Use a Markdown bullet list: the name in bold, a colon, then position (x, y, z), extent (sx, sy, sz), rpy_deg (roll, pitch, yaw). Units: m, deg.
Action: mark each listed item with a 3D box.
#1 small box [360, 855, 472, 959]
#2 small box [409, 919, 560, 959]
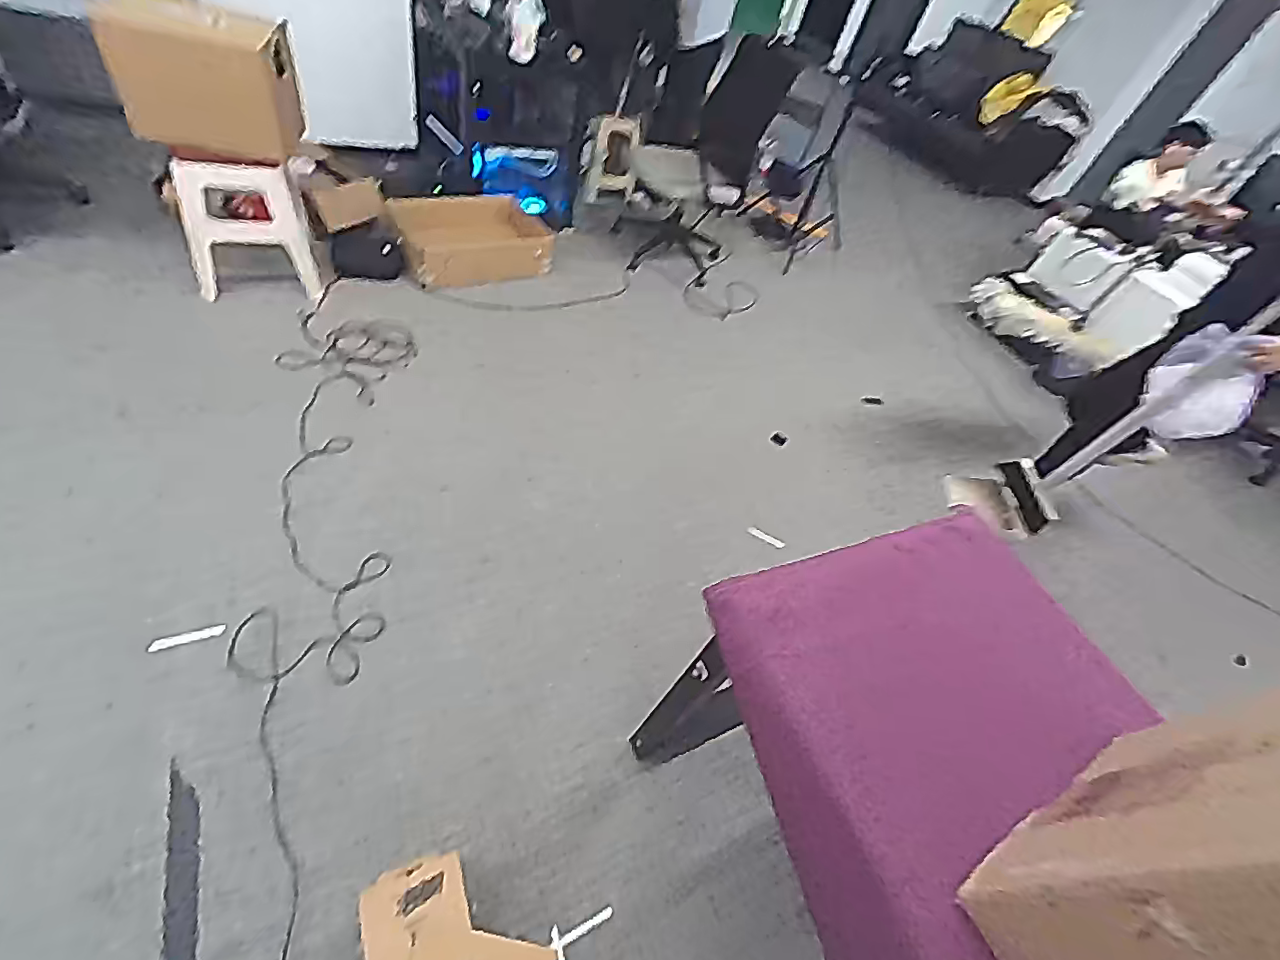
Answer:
- **small box**: position (-0.390, 0.806, 0.957), extent (0.168, 0.176, 0.179), rpy_deg (-10, 54, -25)
- **small box**: position (-0.194, 0.623, 0.564), extent (0.168, 0.176, 0.179), rpy_deg (17, 14, -5)
